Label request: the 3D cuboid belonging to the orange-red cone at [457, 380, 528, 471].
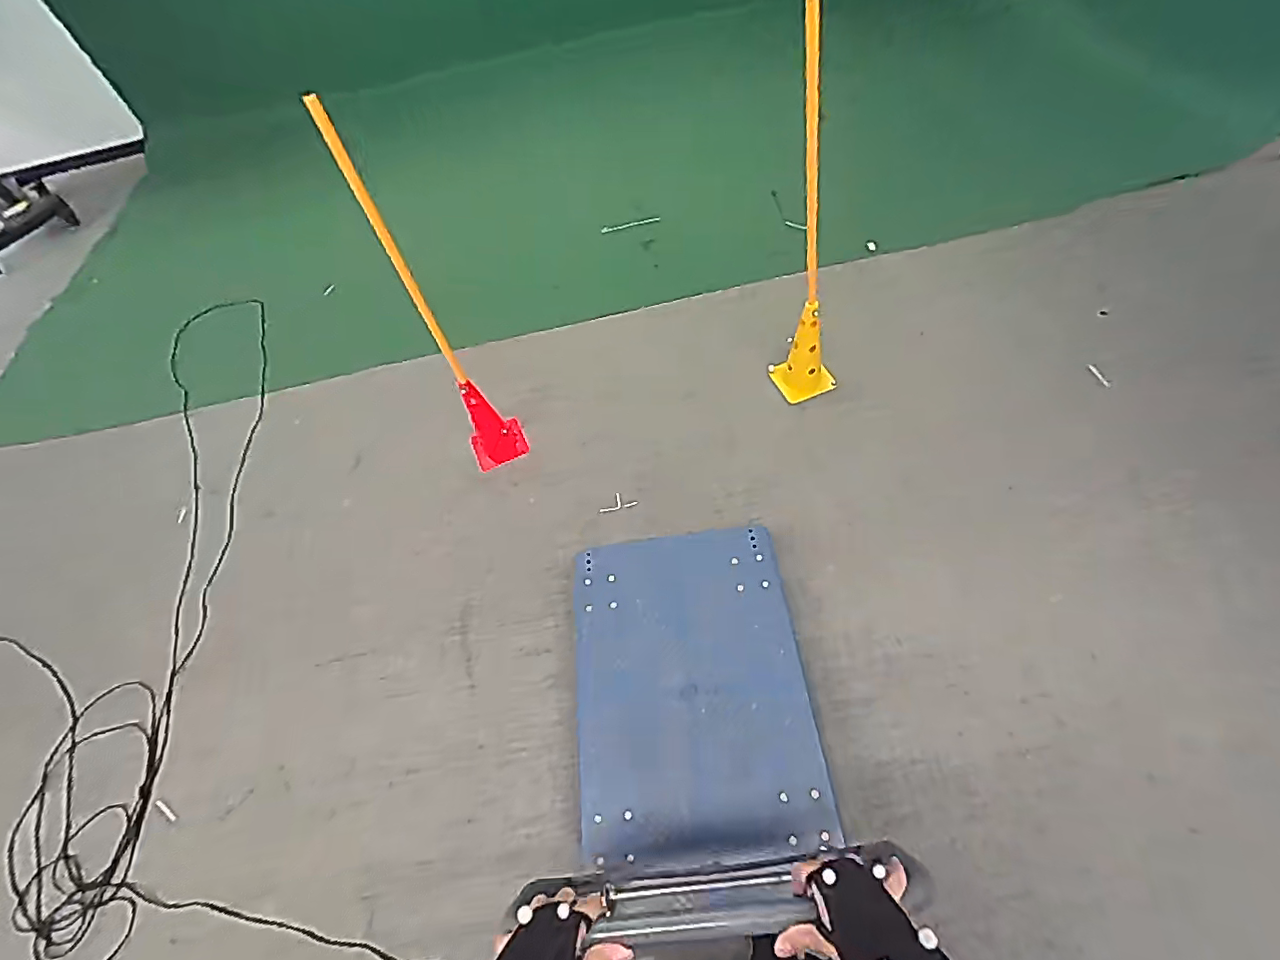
[{"bbox_3d":[-0.570,-0.226,1.951,0.199,0.360,0.198,-25,56,-5],"label":"orange-red cone"}]
